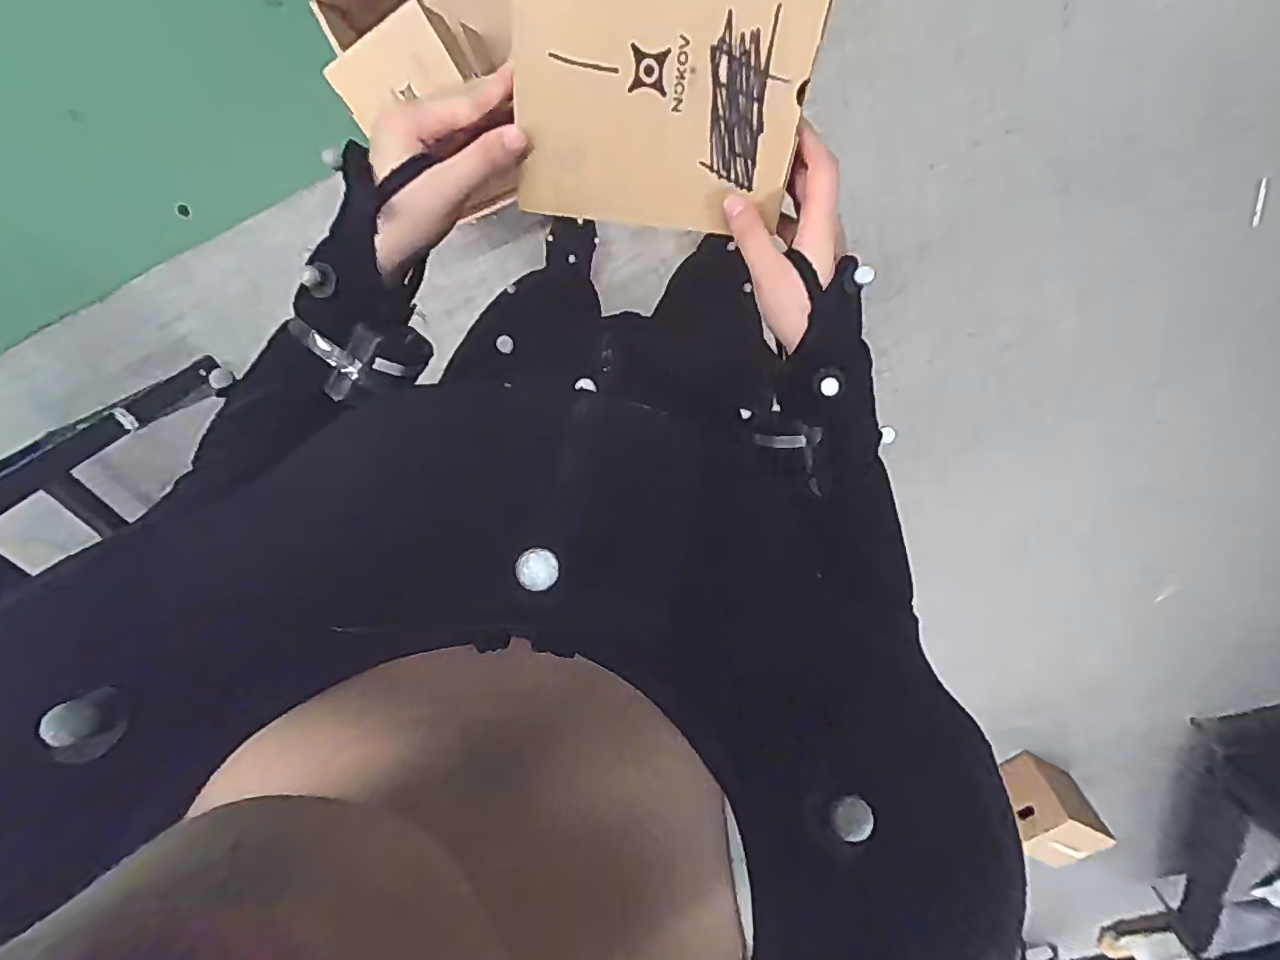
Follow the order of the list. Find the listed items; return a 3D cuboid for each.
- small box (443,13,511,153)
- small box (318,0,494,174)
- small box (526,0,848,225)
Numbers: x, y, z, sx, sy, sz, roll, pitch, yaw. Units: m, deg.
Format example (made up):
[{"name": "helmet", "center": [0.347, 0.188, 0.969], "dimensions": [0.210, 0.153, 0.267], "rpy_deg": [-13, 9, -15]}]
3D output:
[{"name": "small box", "center": [-0.359, -0.712, 0.993], "dimensions": [0.179, 0.176, 0.168], "rpy_deg": [-17, 124, 8]}, {"name": "small box", "center": [-0.354, -0.618, 0.858], "dimensions": [0.179, 0.176, 0.168], "rpy_deg": [-27, 123, 12]}, {"name": "small box", "center": [0.022, -0.292, 0.366], "dimensions": [0.179, 0.176, 0.168], "rpy_deg": [4, 131, -4]}]
